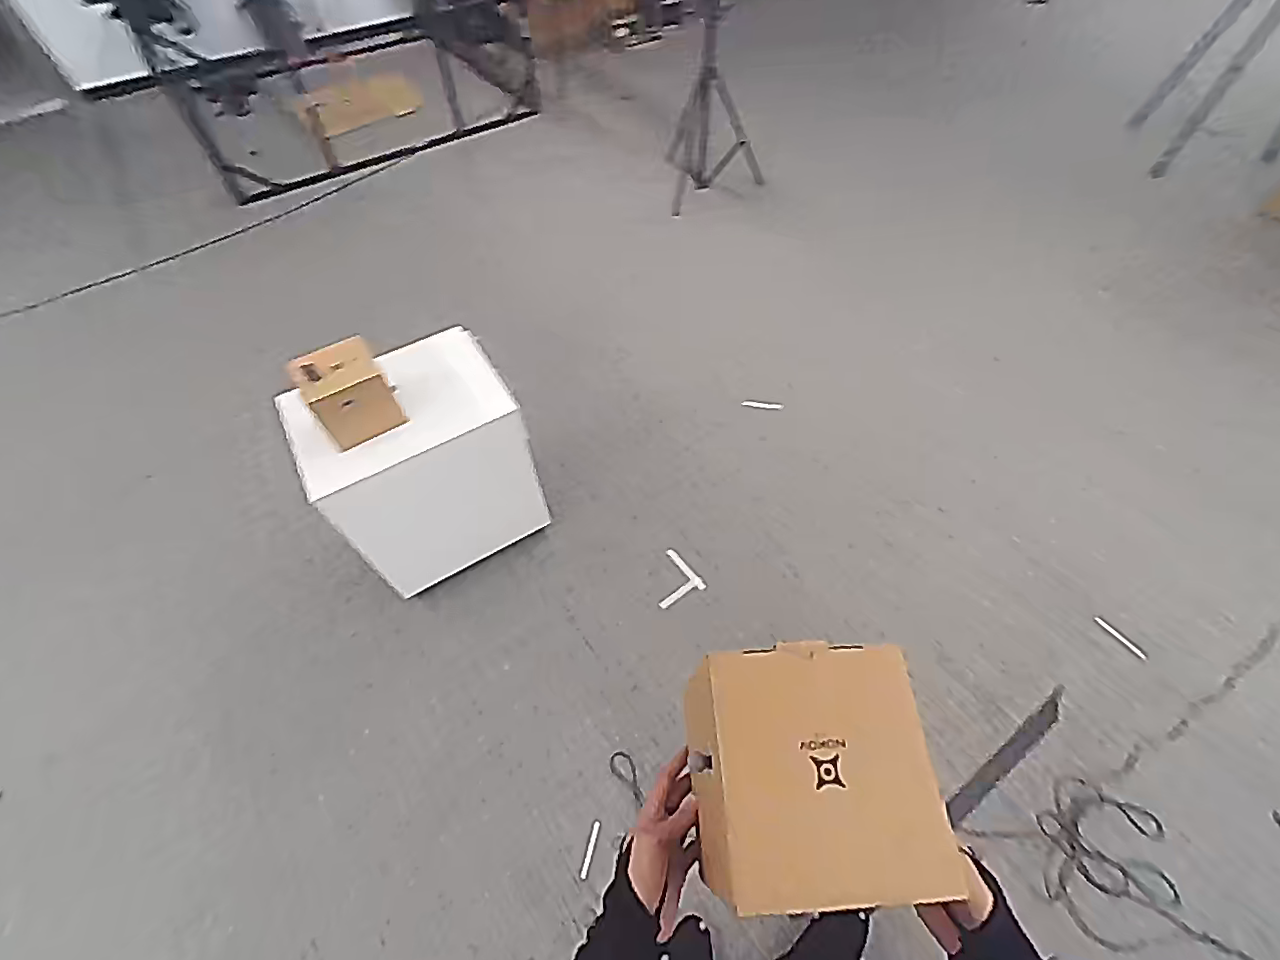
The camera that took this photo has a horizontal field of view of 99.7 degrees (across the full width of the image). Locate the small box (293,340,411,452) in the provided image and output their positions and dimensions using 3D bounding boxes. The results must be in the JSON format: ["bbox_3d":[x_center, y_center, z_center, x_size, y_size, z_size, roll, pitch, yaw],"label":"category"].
[{"bbox_3d":[-0.689,-0.199,1.306,0.179,0.176,0.168,-30,59,-19],"label":"small box"}]

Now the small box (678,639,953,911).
[{"bbox_3d":[0.130,0.255,0.484,0.168,0.176,0.179,-3,59,-5],"label":"small box"}]
